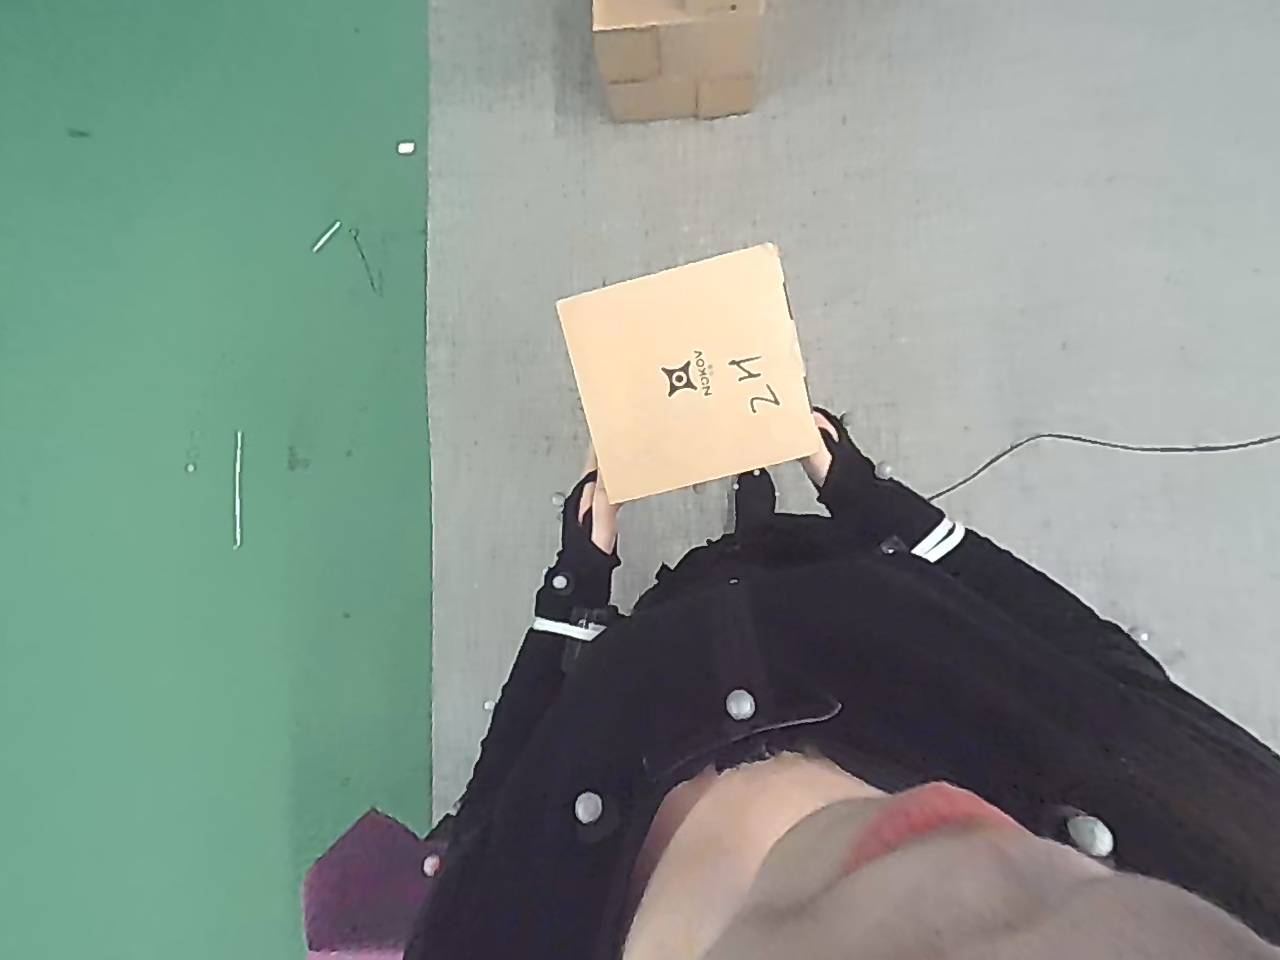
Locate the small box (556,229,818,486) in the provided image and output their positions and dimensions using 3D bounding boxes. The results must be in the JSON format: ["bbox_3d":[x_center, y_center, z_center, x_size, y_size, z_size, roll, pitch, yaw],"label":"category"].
[{"bbox_3d":[0.040,-0.099,0.493,0.179,0.176,0.168,-13,97,3],"label":"small box"}]
